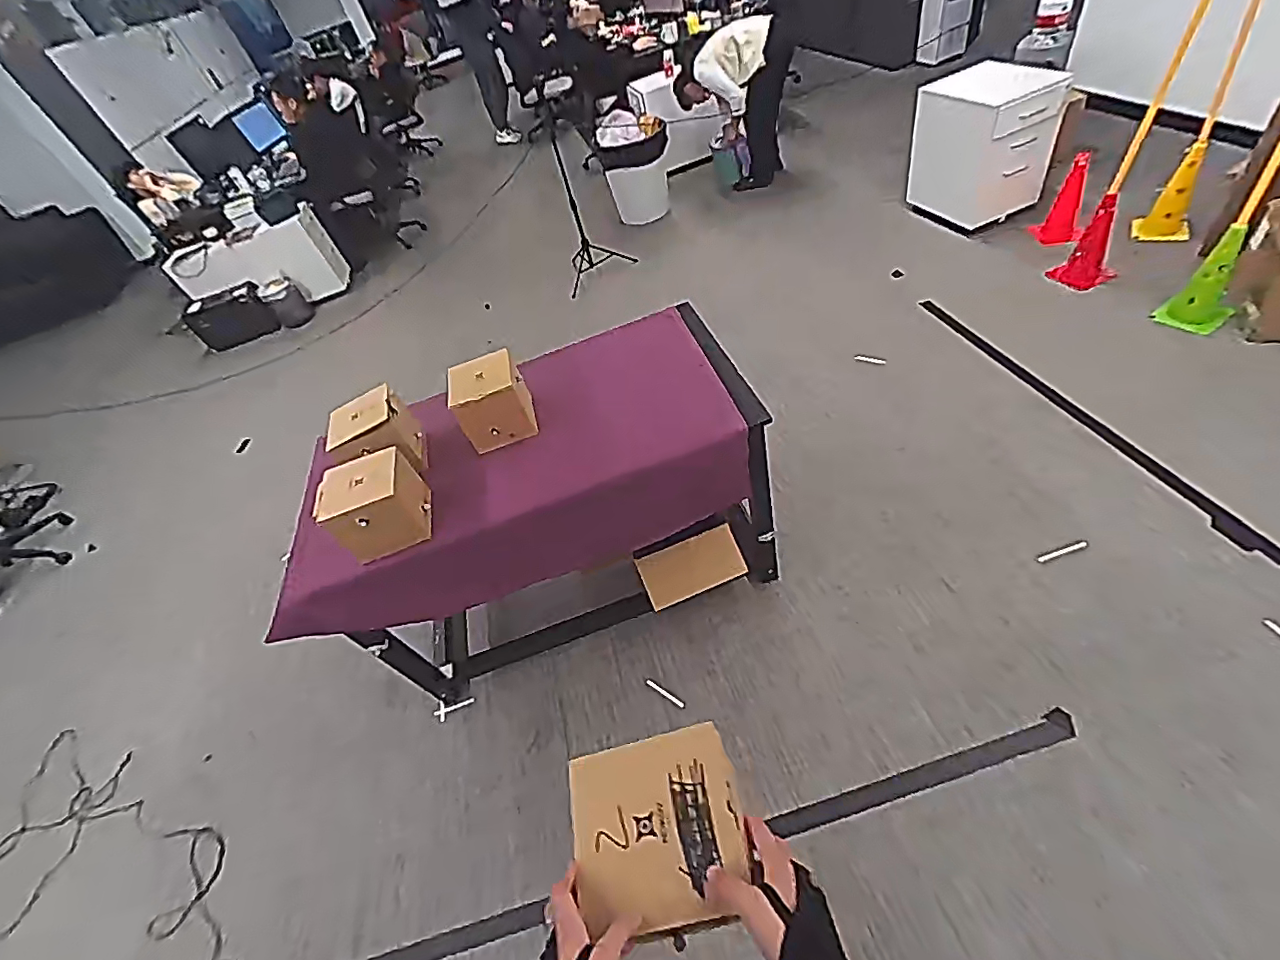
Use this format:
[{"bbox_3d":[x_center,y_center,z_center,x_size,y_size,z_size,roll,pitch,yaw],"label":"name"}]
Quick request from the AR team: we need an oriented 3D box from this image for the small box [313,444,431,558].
[{"bbox_3d":[-0.605,0.052,1.242,0.179,0.176,0.168,-20,47,-1],"label":"small box"}]

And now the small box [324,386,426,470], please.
[{"bbox_3d":[-0.681,-0.108,1.406,0.179,0.176,0.168,-22,48,-3],"label":"small box"}]
